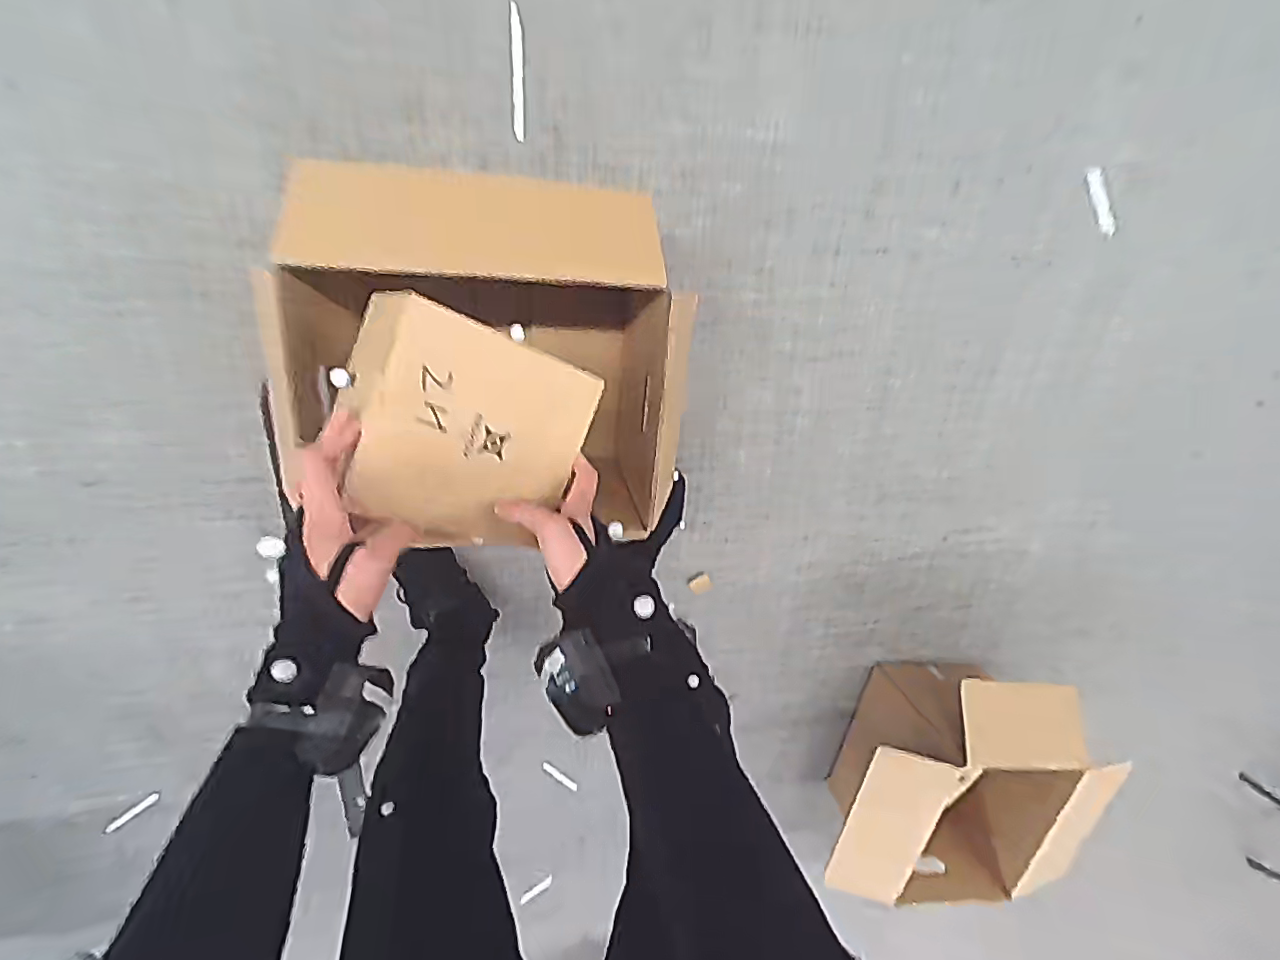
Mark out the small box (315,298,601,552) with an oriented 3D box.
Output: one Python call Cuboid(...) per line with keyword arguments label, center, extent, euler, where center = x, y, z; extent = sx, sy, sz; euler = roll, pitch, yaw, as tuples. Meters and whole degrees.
Cuboid(label="small box", center=(-0.171, -0.053, 0.490), extent=(0.179, 0.176, 0.168), euler=(18, 94, -37))
